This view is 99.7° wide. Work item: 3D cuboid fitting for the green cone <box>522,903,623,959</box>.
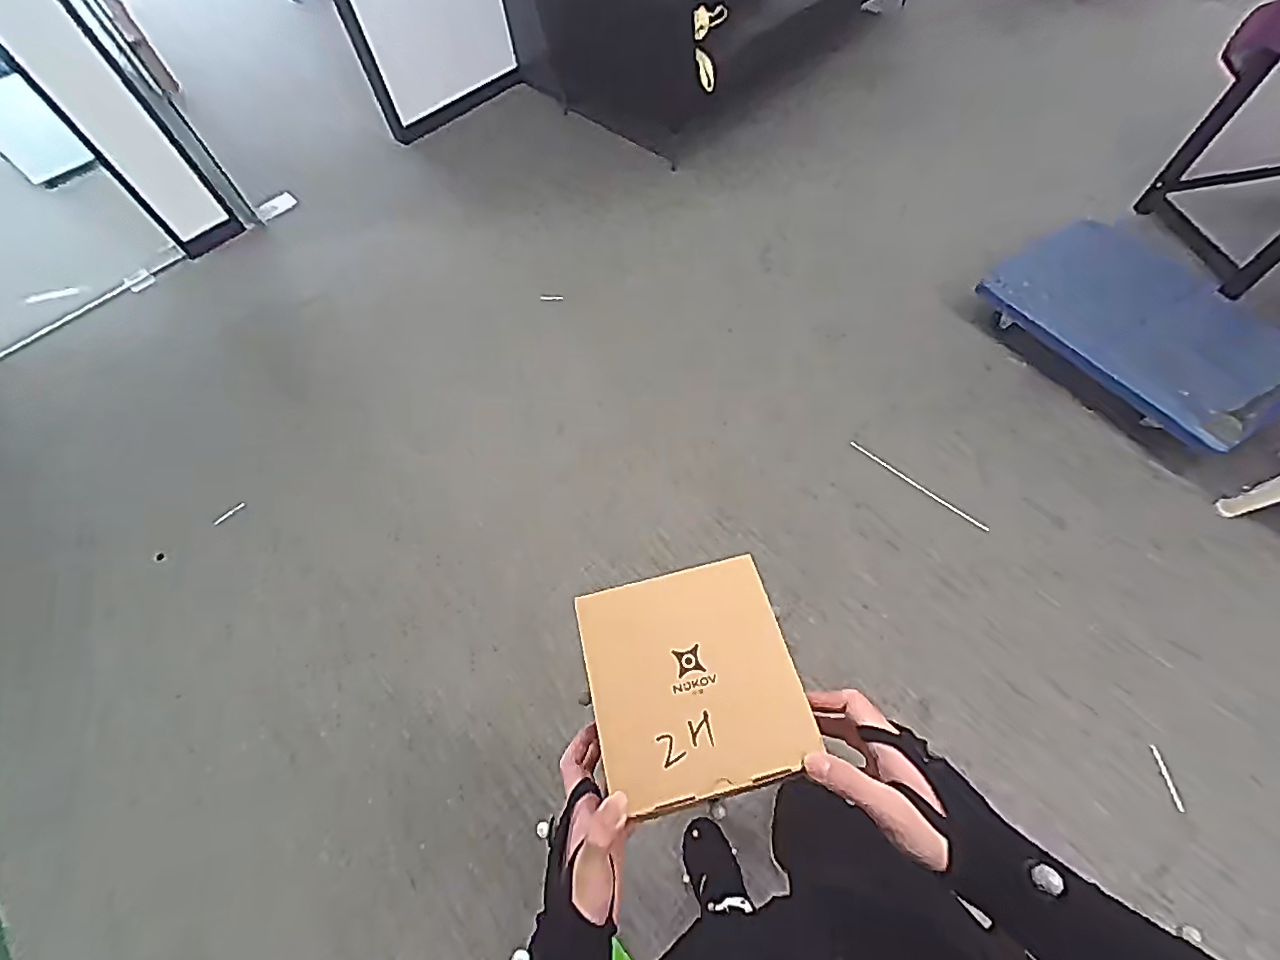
[{"bbox_3d":[-0.153,0.990,1.013,0.200,0.368,0.202,-41,67,-17],"label":"green cone"}]
